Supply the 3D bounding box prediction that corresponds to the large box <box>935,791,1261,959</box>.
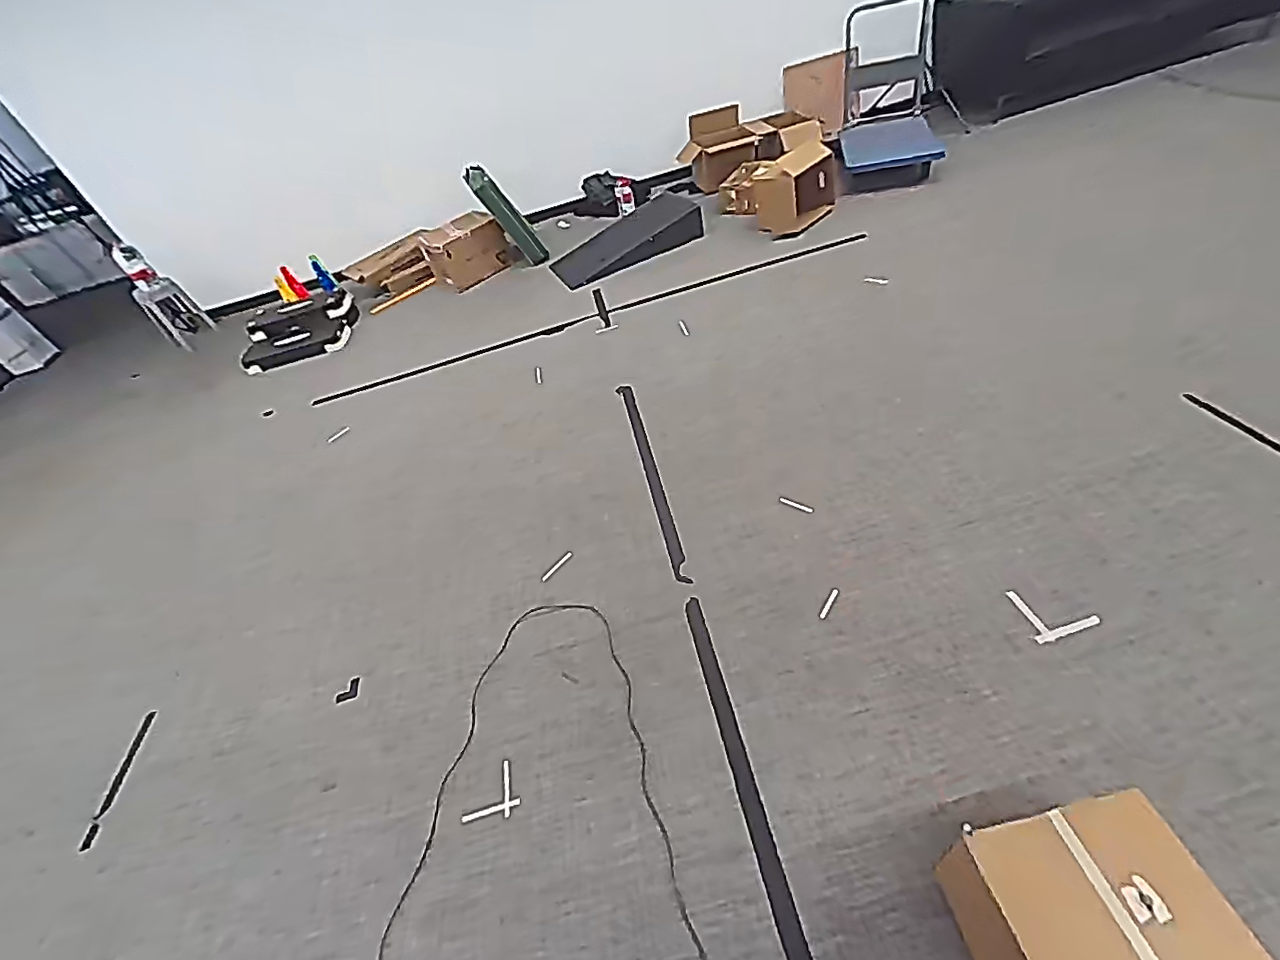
[{"bbox_3d":[0.764,0.812,0.890,0.320,0.320,0.408,-15,42,0],"label":"large box"}]
